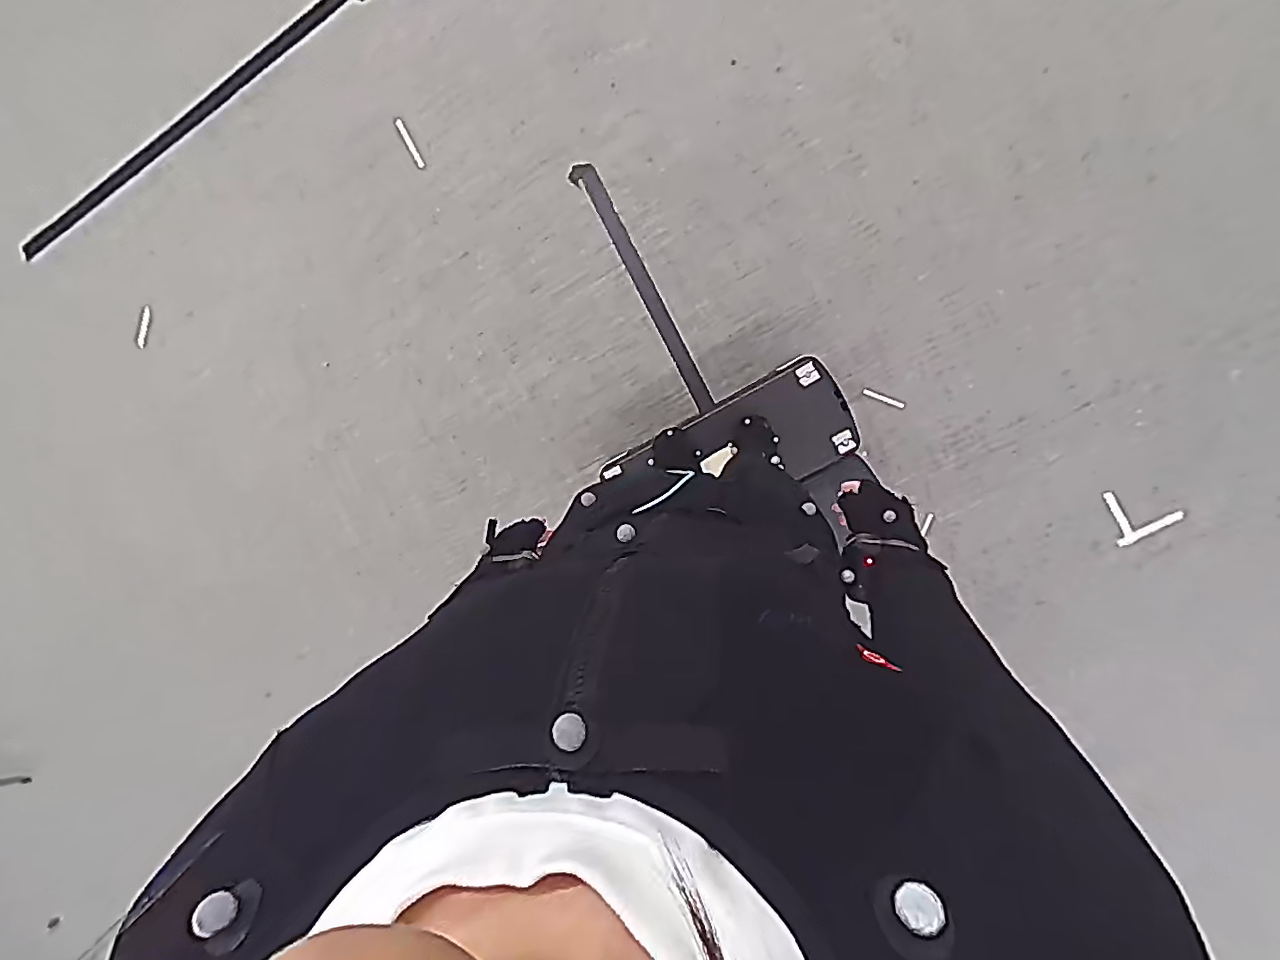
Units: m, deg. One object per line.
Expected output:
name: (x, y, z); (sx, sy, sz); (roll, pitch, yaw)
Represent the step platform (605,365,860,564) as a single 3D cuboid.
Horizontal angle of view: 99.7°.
step platform: (0.242, -0.038, 1.507); (0.684, 0.204, 0.286); (-29, 94, 9)
